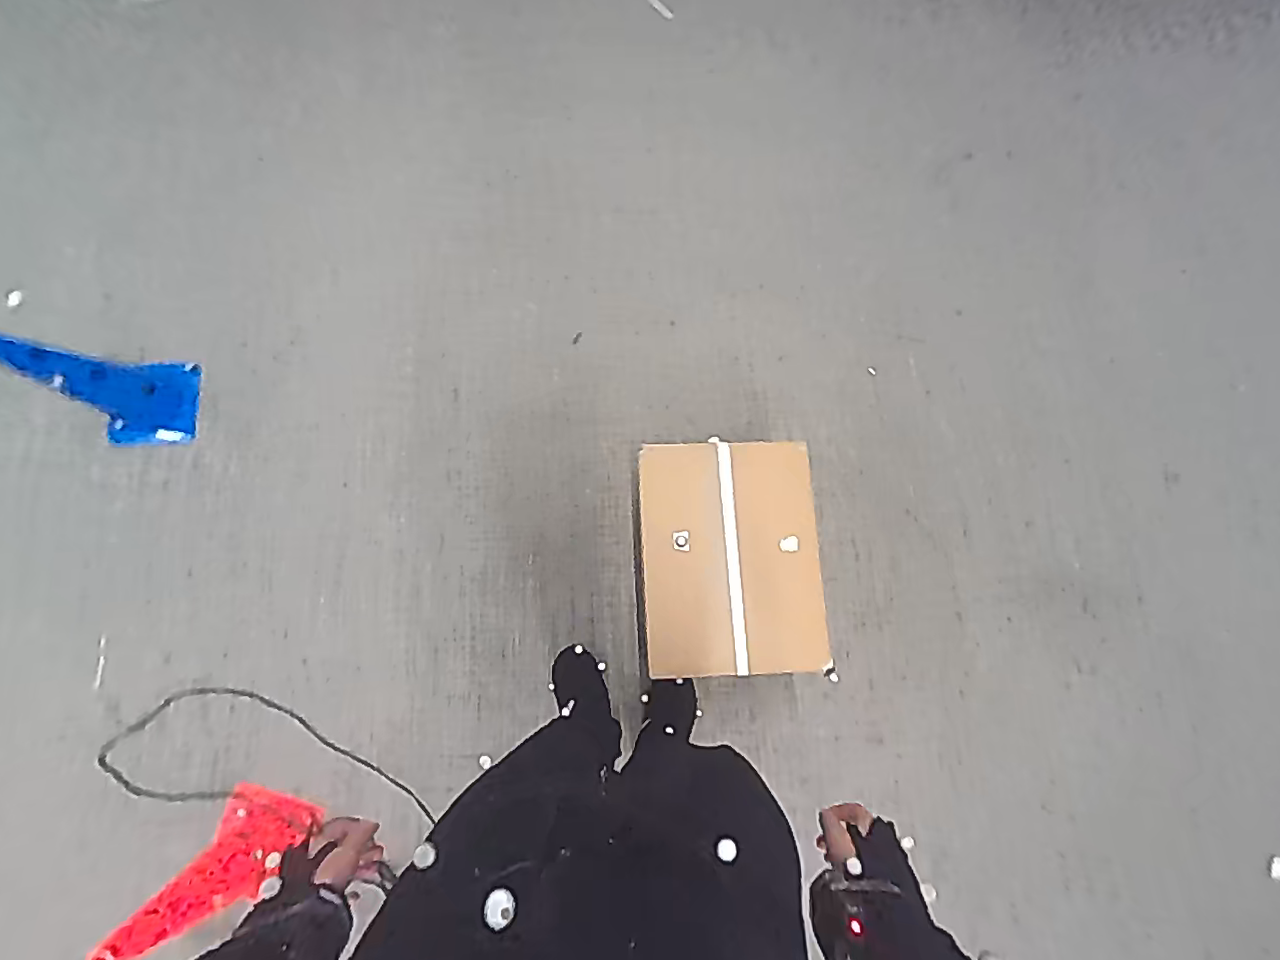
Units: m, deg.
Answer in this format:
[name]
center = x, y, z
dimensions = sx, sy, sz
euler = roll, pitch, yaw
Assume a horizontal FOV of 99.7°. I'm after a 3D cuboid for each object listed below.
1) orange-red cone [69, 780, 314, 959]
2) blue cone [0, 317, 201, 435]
[orange-red cone]
center = -0.789, 0.712, 0.938
dimensions = 0.198, 0.360, 0.199
euler = 18, 81, 4
[blue cone]
center = -1.151, -0.230, 1.131
dimensions = 0.193, 0.380, 0.192
euler = -1, 79, -1
